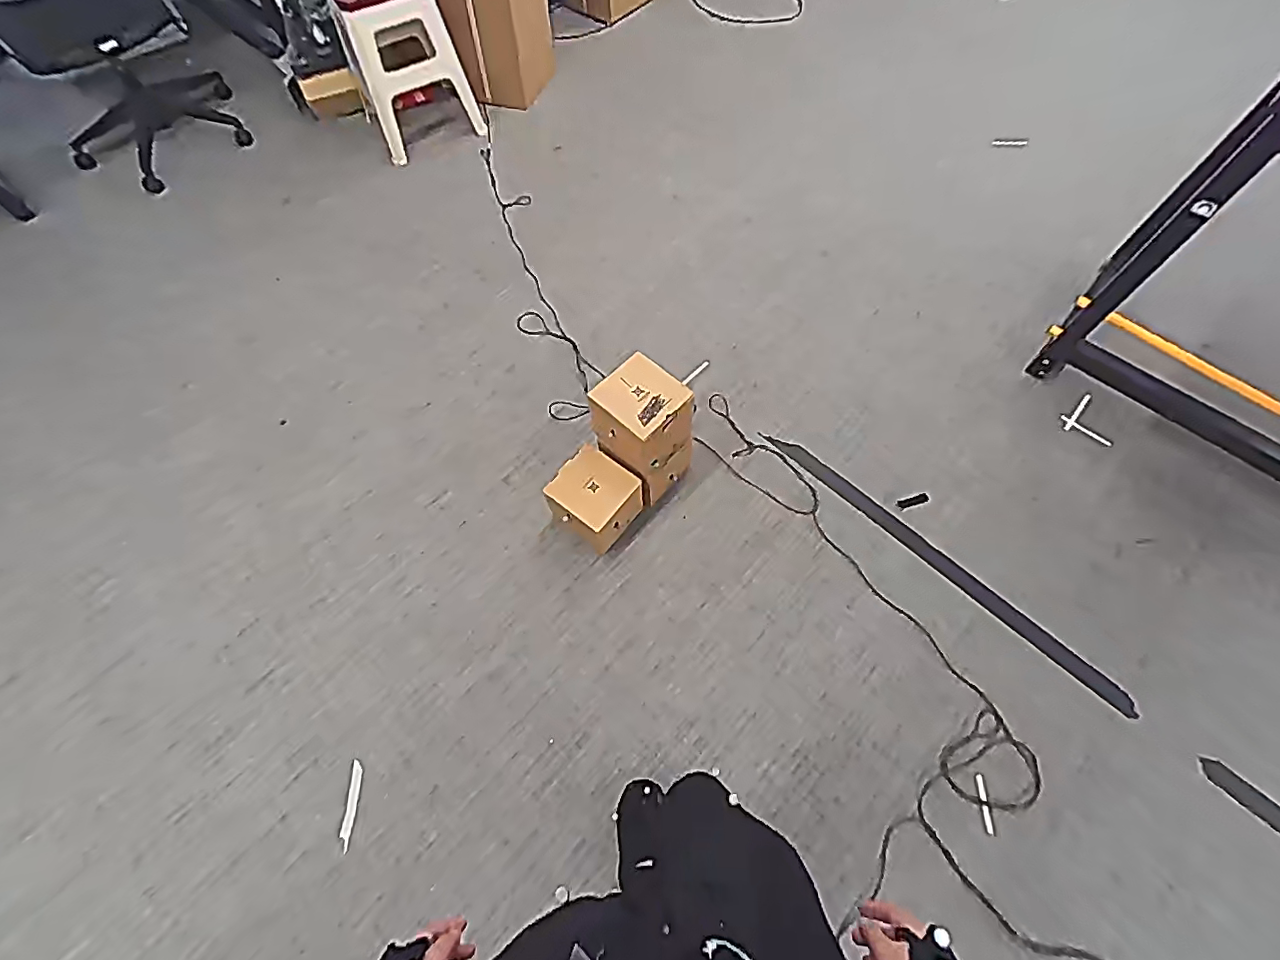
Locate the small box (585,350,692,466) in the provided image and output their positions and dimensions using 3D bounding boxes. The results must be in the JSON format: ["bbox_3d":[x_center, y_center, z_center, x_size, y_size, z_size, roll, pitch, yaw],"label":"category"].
[{"bbox_3d":[0.000,-0.154,1.238,0.179,0.176,0.168,40,71,19],"label":"small box"}]
